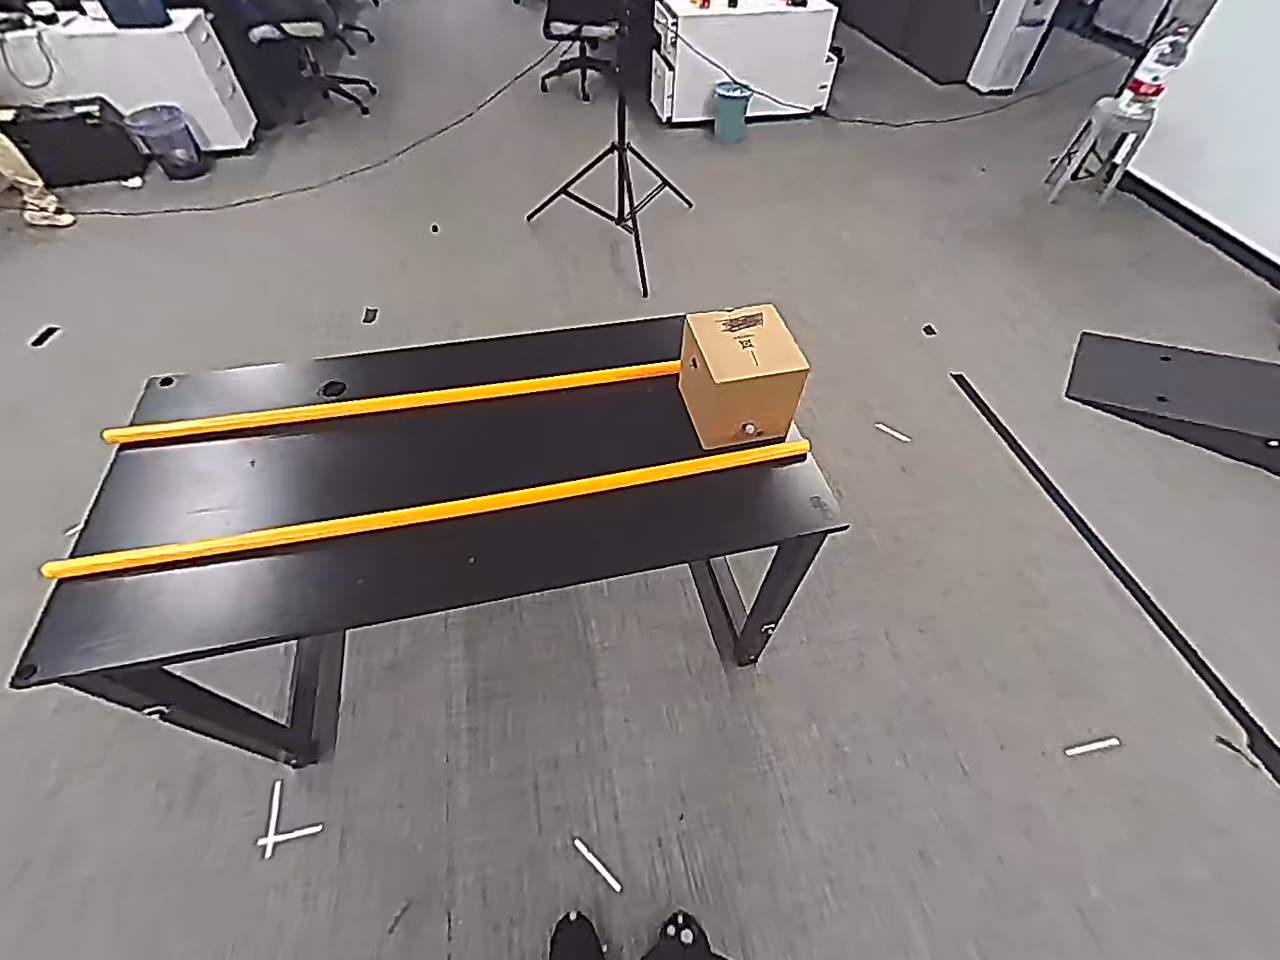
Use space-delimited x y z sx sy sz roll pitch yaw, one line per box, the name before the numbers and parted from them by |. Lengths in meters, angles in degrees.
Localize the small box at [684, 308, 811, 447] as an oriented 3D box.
small box | 0.182 -0.185 0.984 0.168 0.176 0.179 -10 54 -8
